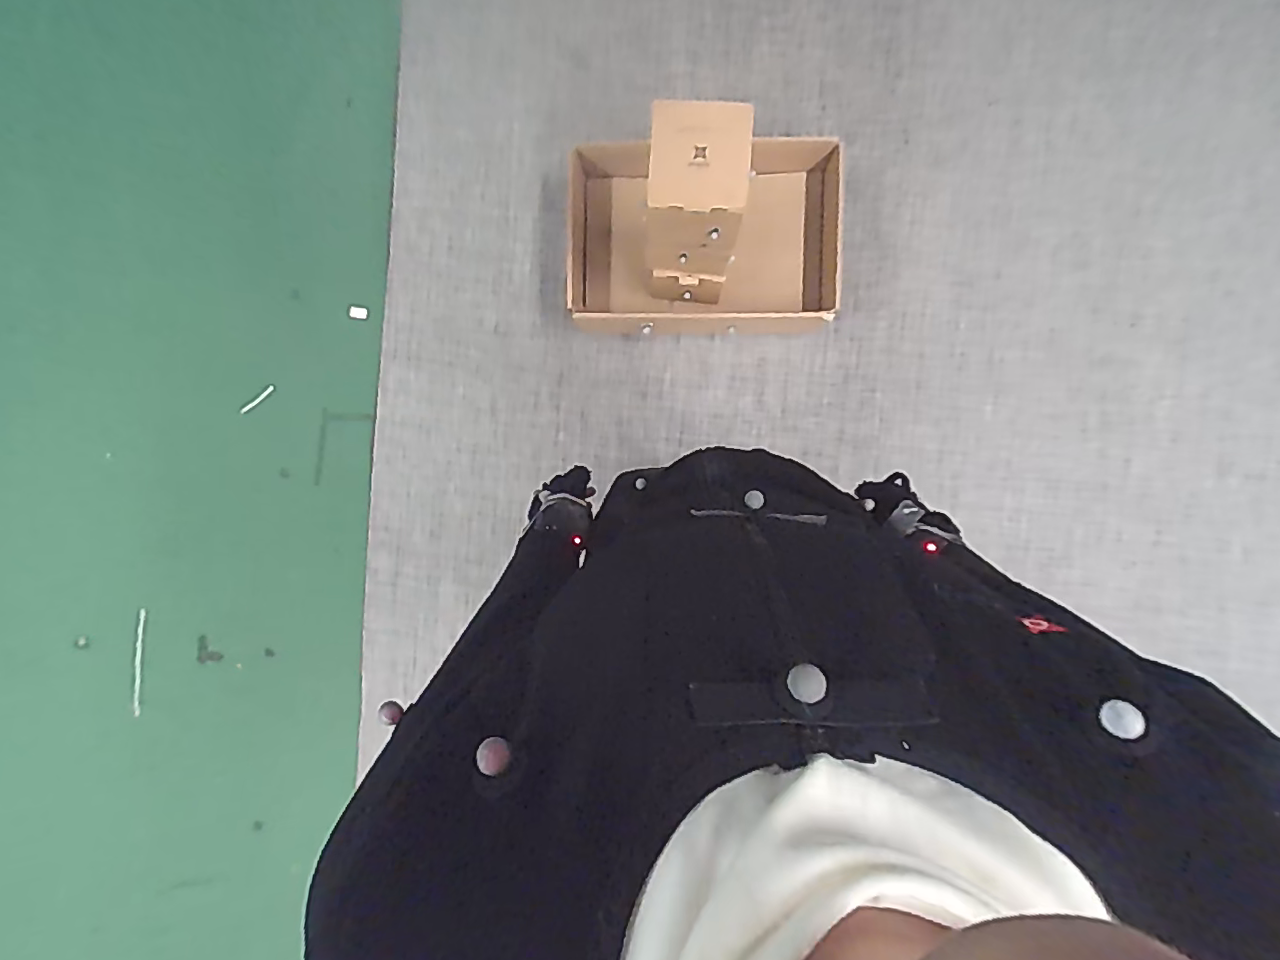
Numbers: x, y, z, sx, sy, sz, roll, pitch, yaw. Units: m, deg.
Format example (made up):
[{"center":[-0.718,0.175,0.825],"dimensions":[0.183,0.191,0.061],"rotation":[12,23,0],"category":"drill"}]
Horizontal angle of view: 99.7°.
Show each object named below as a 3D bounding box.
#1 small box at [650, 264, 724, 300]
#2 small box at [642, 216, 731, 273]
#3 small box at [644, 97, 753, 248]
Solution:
[{"center":[0.119,-0.541,1.282],"dimensions":[0.168,0.176,0.179],"rotation":[8,93,2],"category":"small box"},{"center":[0.107,-0.545,1.117],"dimensions":[0.179,0.176,0.168],"rotation":[10,92,4],"category":"small box"},{"center":[0.098,-0.530,0.956],"dimensions":[0.168,0.176,0.179],"rotation":[5,90,1],"category":"small box"}]
